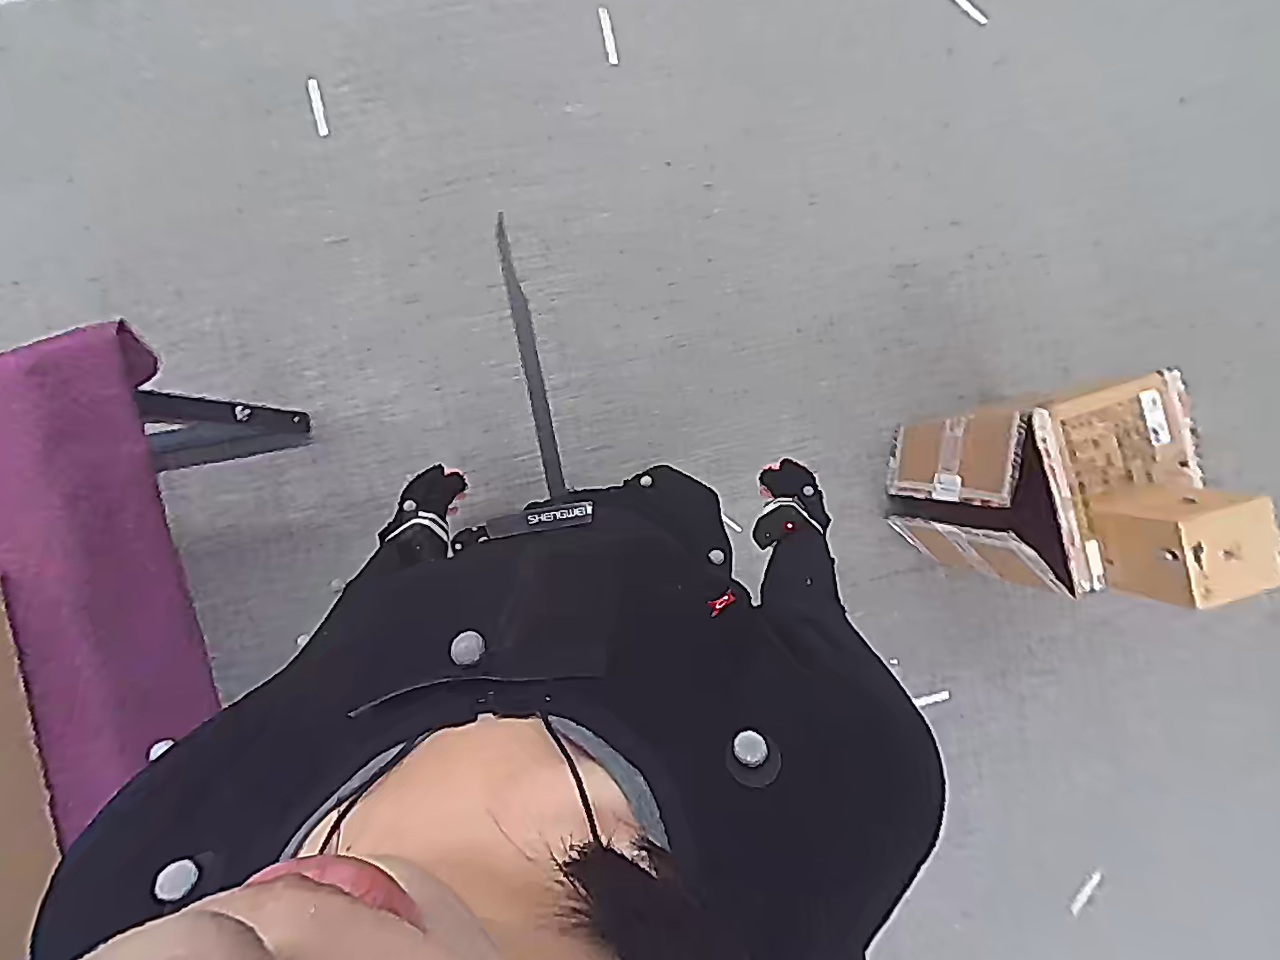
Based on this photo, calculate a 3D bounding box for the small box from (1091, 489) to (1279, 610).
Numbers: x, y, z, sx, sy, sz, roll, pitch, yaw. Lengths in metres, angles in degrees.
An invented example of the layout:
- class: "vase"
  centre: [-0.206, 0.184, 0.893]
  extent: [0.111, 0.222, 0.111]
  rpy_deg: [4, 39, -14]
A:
- class: "small box"
  centre: [0.997, 0.118, 0.999]
  extent: [0.179, 0.176, 0.168]
  rpy_deg: [-16, 94, -4]
